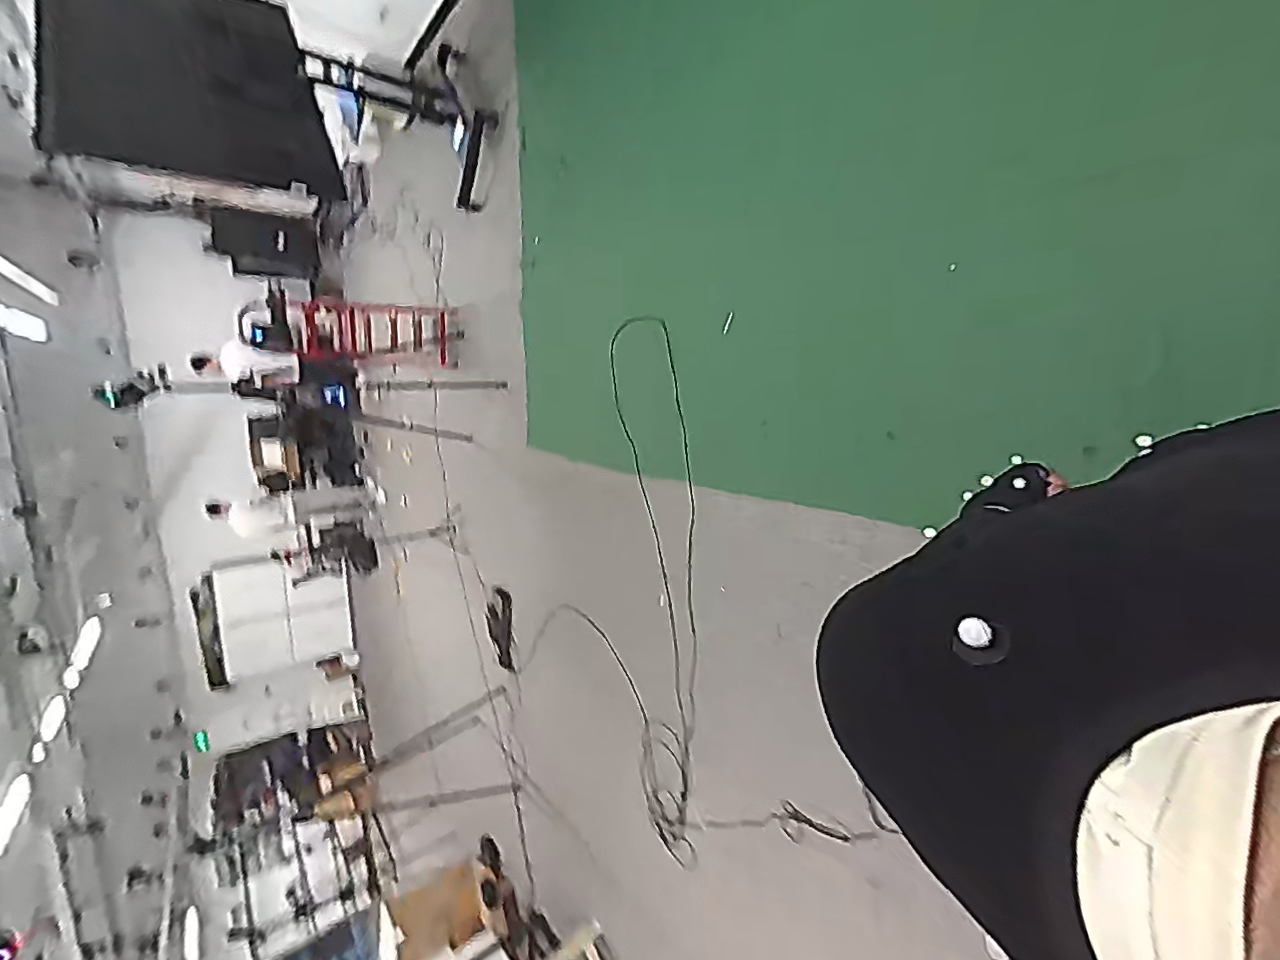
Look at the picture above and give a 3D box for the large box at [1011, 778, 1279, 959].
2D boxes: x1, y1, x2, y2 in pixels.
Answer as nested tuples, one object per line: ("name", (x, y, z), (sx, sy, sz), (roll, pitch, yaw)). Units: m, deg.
("large box", (1.158, 0.978, 1.201), (0.408, 0.320, 0.320), (49, 131, 34))
